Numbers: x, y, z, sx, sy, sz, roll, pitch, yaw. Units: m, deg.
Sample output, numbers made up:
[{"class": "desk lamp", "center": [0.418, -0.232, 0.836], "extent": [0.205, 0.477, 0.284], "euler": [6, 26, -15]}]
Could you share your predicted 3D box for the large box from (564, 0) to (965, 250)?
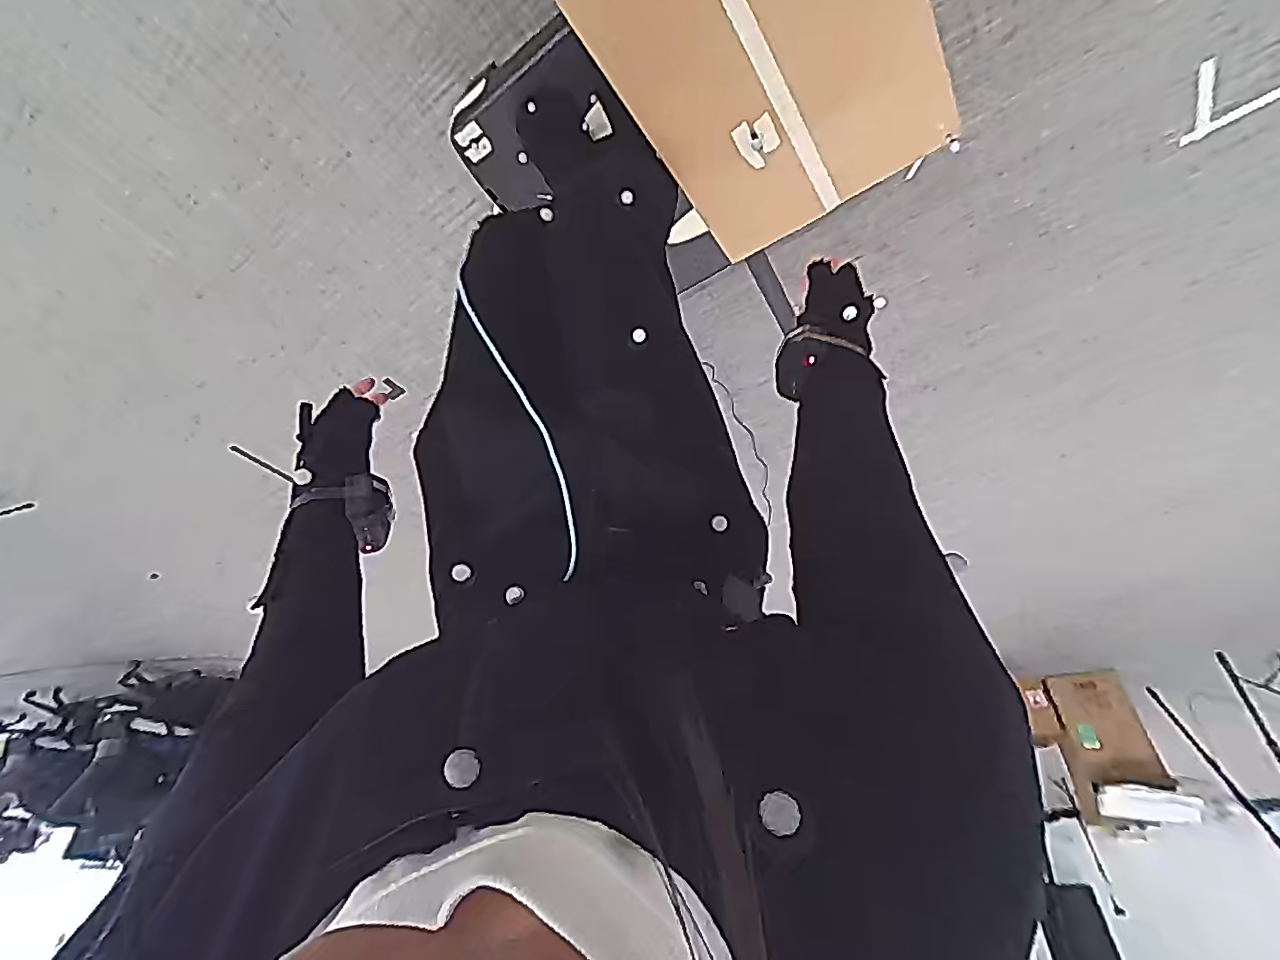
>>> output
[{"class": "large box", "center": [0.159, -0.603, 0.685], "extent": [0.320, 0.320, 0.408], "euler": [-19, 140, 34]}]
